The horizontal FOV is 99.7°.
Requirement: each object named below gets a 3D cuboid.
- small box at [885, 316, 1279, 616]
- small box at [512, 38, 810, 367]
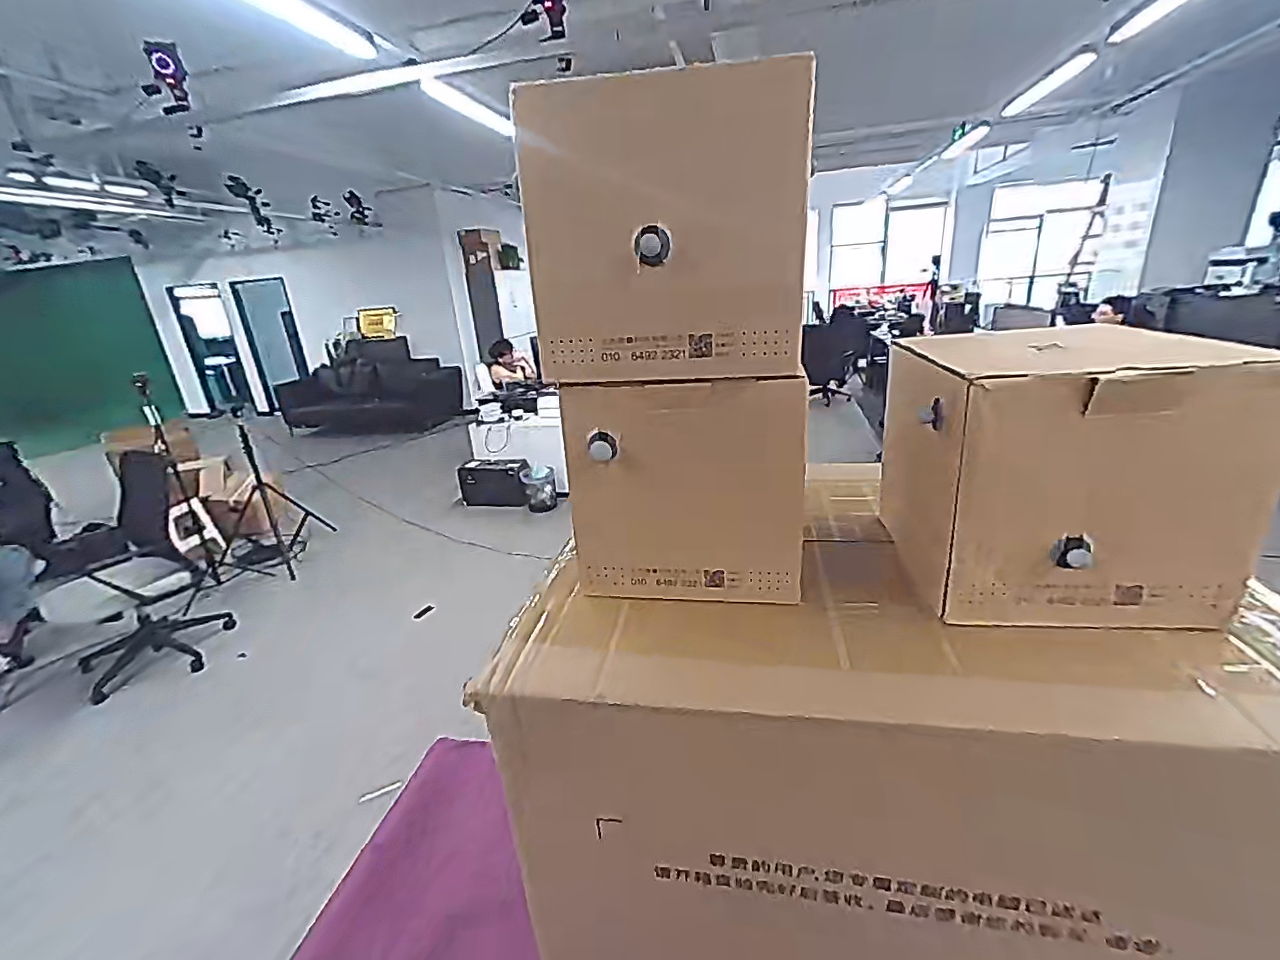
[{"bbox_3d":[0.289,-0.022,0.395,0.168,0.176,0.179,-2,21,10],"label":"small box"},{"bbox_3d":[0.025,-0.176,0.392,0.168,0.176,0.179,0,20,8],"label":"small box"}]
